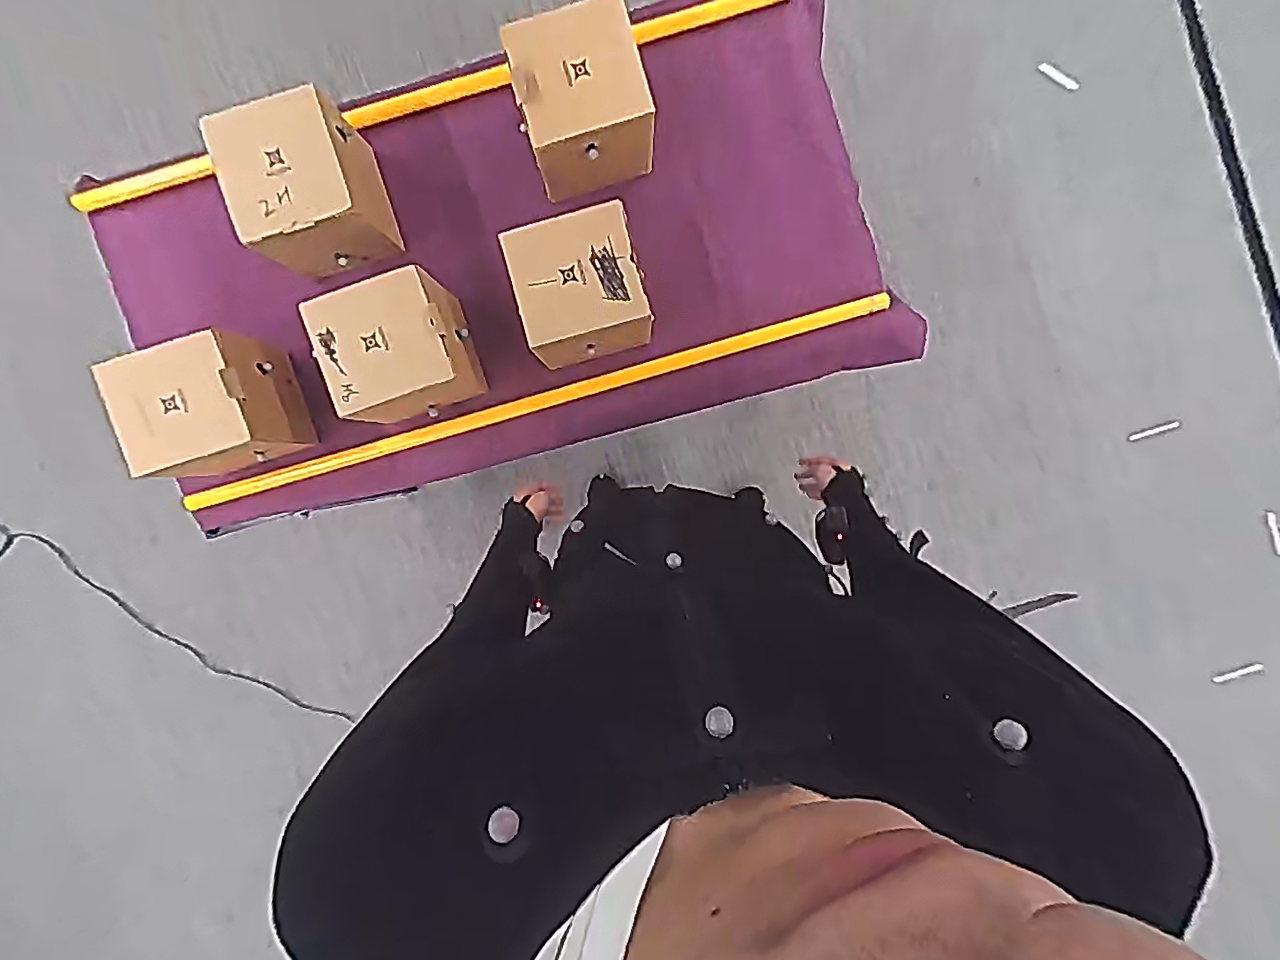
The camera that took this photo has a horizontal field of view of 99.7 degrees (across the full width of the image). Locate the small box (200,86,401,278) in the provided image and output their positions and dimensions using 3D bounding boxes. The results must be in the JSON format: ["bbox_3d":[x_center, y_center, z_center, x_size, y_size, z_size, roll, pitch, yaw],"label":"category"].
[{"bbox_3d":[-0.493,-0.432,0.813,0.168,0.176,0.179,-17,94,1],"label":"small box"}]

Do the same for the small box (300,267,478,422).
[{"bbox_3d":[-0.363,-0.194,0.824,0.179,0.176,0.168,-19,92,0],"label":"small box"}]

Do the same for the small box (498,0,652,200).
[{"bbox_3d":[-0.088,-0.556,0.809,0.179,0.176,0.168,-17,93,1],"label":"small box"}]

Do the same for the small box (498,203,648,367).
[{"bbox_3d":[-0.092,-0.282,0.820,0.179,0.176,0.168,-15,91,2],"label":"small box"}]

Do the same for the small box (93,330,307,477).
[{"bbox_3d":[-0.646,-0.109,0.825,0.179,0.176,0.168,-18,92,-2],"label":"small box"}]
